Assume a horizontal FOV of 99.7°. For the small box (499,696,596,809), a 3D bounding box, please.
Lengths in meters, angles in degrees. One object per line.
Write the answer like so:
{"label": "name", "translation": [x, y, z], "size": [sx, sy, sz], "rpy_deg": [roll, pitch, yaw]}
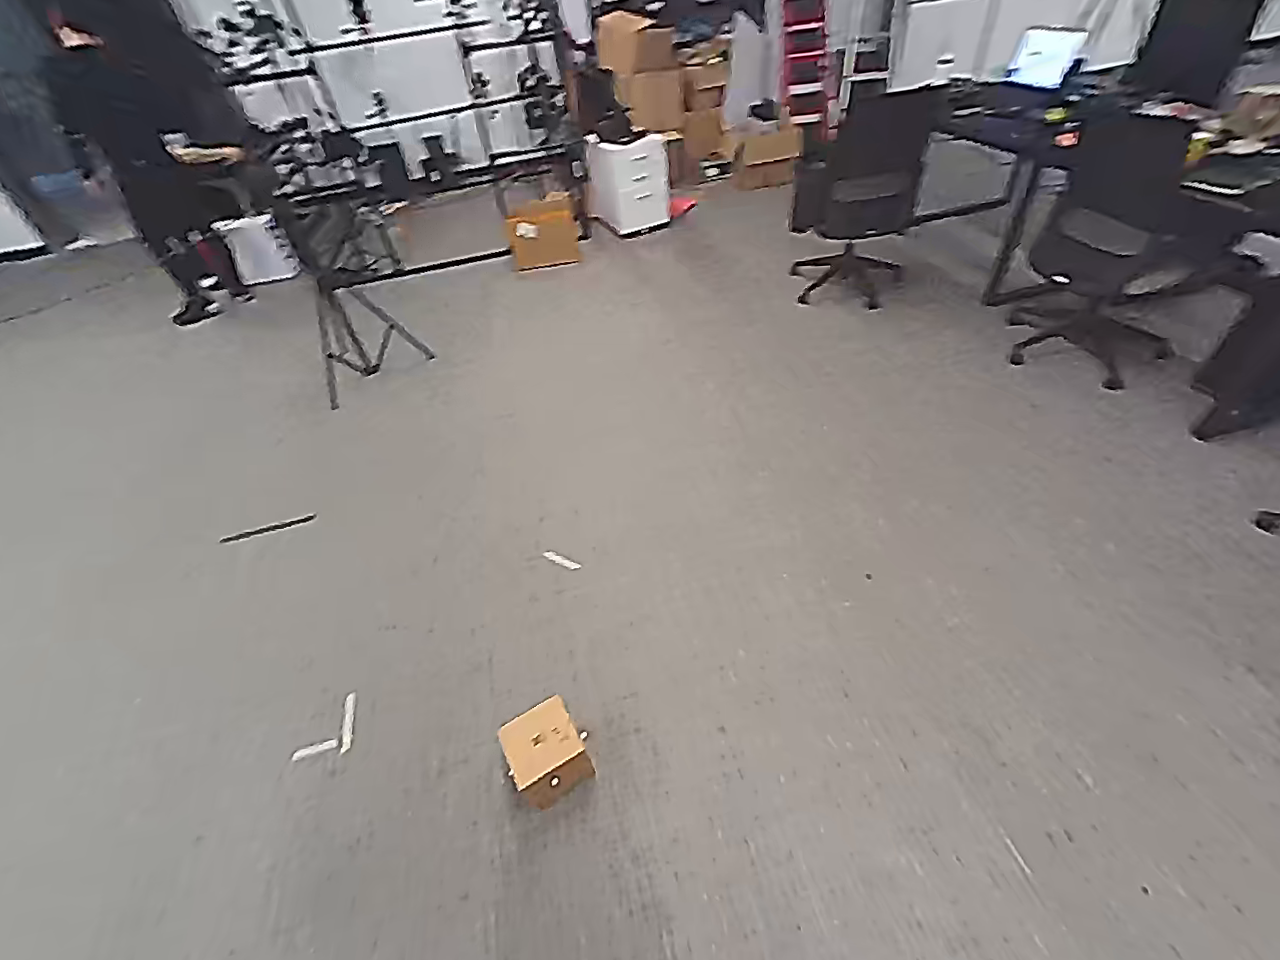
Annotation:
{"label": "small box", "translation": [-0.230, 0.695, 1.374], "size": [0.179, 0.176, 0.168], "rpy_deg": [-25, 46, -18]}
